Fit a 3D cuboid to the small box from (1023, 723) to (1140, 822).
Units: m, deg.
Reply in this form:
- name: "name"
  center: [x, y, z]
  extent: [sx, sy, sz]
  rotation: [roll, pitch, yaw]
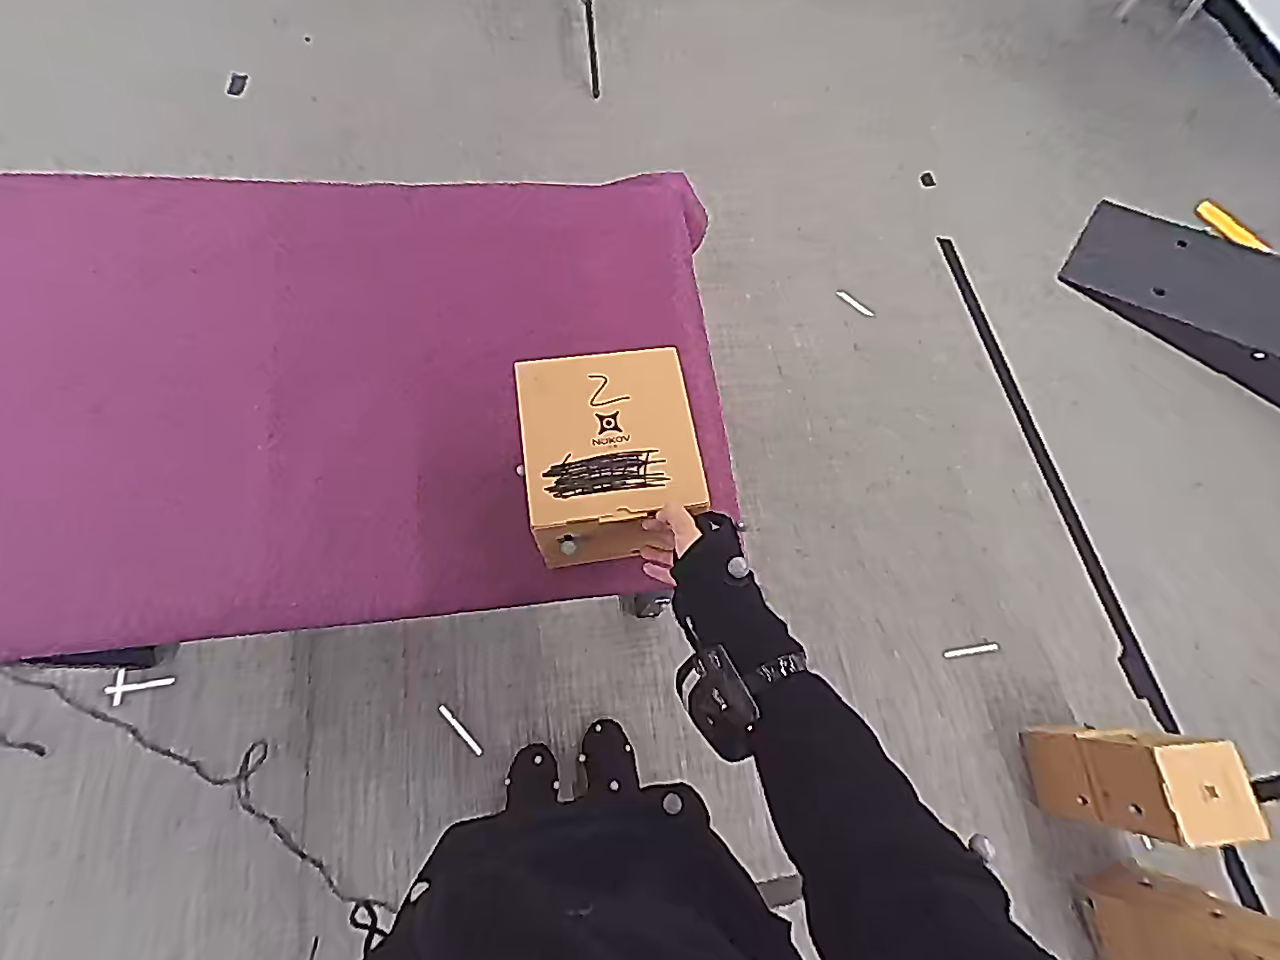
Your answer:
- name: "small box"
  center: [1.020, 0.654, 1.228]
  extent: [0.168, 0.176, 0.179]
  rotation: [-1, 70, -6]

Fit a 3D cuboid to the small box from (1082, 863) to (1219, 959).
- name: "small box"
  center: [1.079, 0.934, 1.127]
  extent: [0.179, 0.176, 0.168]
  rotation: [-7, 71, -9]

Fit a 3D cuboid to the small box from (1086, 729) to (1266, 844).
- name: "small box"
  center: [1.044, 0.599, 1.077]
  extent: [0.179, 0.176, 0.168]
  rotation: [-2, 71, -8]

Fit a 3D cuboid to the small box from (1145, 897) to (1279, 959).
- name: "small box"
  center: [1.078, 0.883, 0.970]
  extent: [0.168, 0.176, 0.179]
  rotation: [-5, 71, -7]
